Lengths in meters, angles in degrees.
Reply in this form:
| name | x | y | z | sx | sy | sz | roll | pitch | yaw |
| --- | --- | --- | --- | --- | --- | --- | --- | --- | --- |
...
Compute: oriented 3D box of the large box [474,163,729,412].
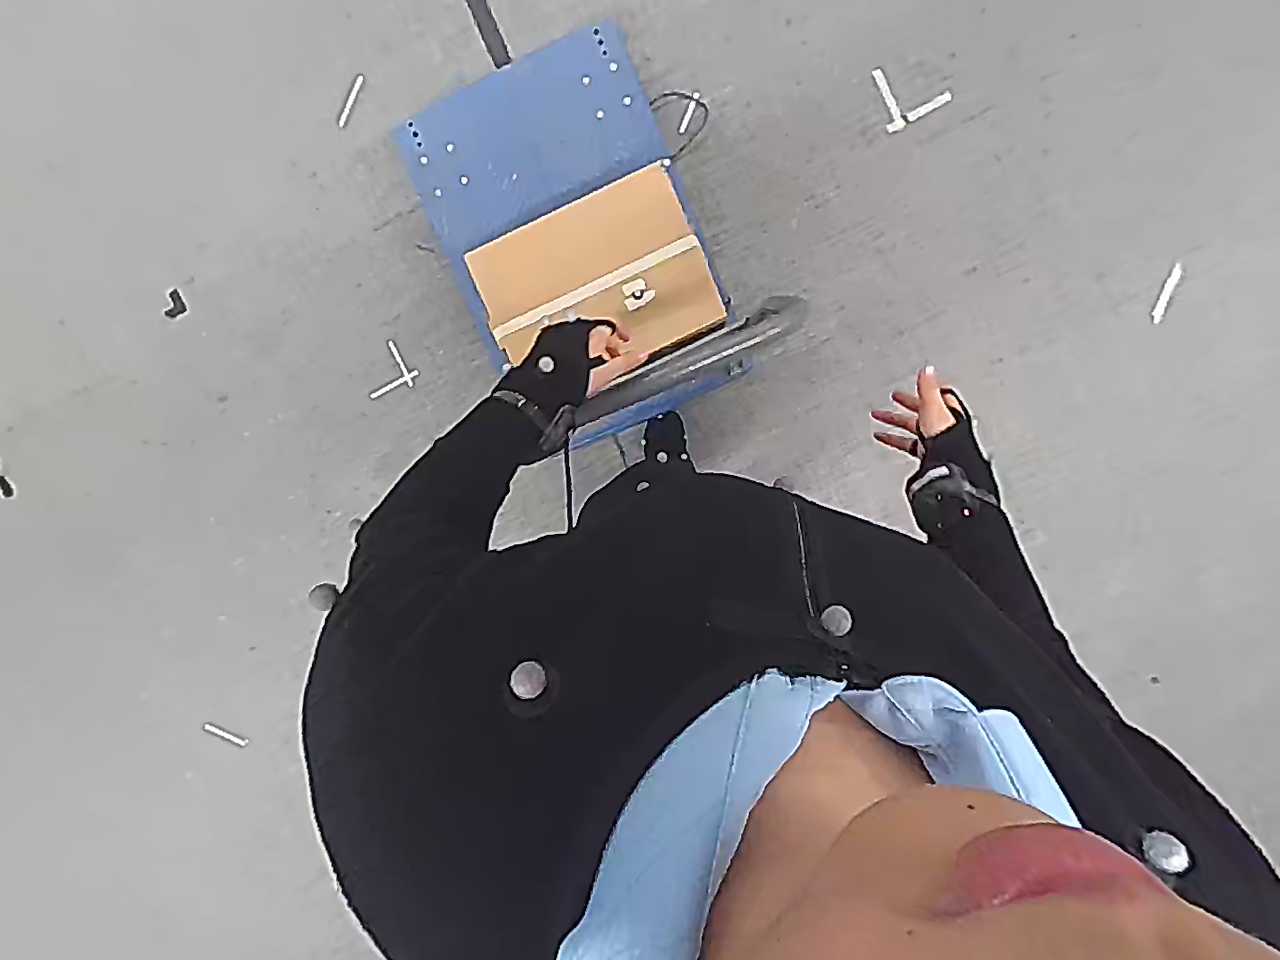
| name | x | y | z | sx | sy | sz | roll | pitch | yaw |
| --- | --- | --- | --- | --- | --- | --- | --- | --- | --- |
| large box | -0.069 | -0.371 | 1.154 | 0.408 | 0.320 | 0.320 | -24 | 94 | 4 |
